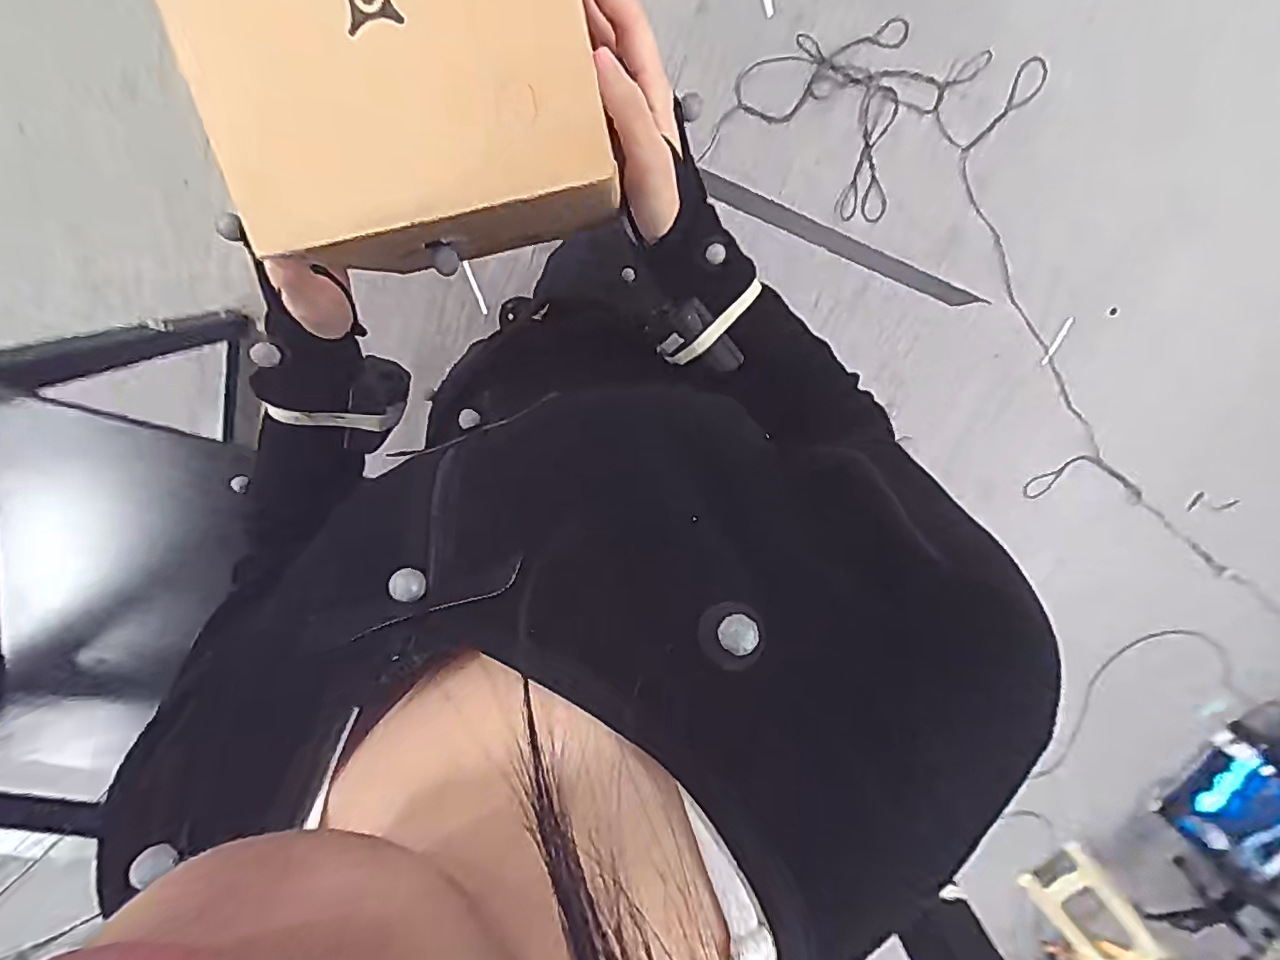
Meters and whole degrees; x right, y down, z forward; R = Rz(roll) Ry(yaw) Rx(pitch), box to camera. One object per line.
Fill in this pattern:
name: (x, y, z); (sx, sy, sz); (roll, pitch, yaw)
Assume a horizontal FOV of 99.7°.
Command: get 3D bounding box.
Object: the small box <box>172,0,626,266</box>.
small box: (-0.102, -0.219, 0.287); (0.168, 0.176, 0.179); (-12, 107, 2)
